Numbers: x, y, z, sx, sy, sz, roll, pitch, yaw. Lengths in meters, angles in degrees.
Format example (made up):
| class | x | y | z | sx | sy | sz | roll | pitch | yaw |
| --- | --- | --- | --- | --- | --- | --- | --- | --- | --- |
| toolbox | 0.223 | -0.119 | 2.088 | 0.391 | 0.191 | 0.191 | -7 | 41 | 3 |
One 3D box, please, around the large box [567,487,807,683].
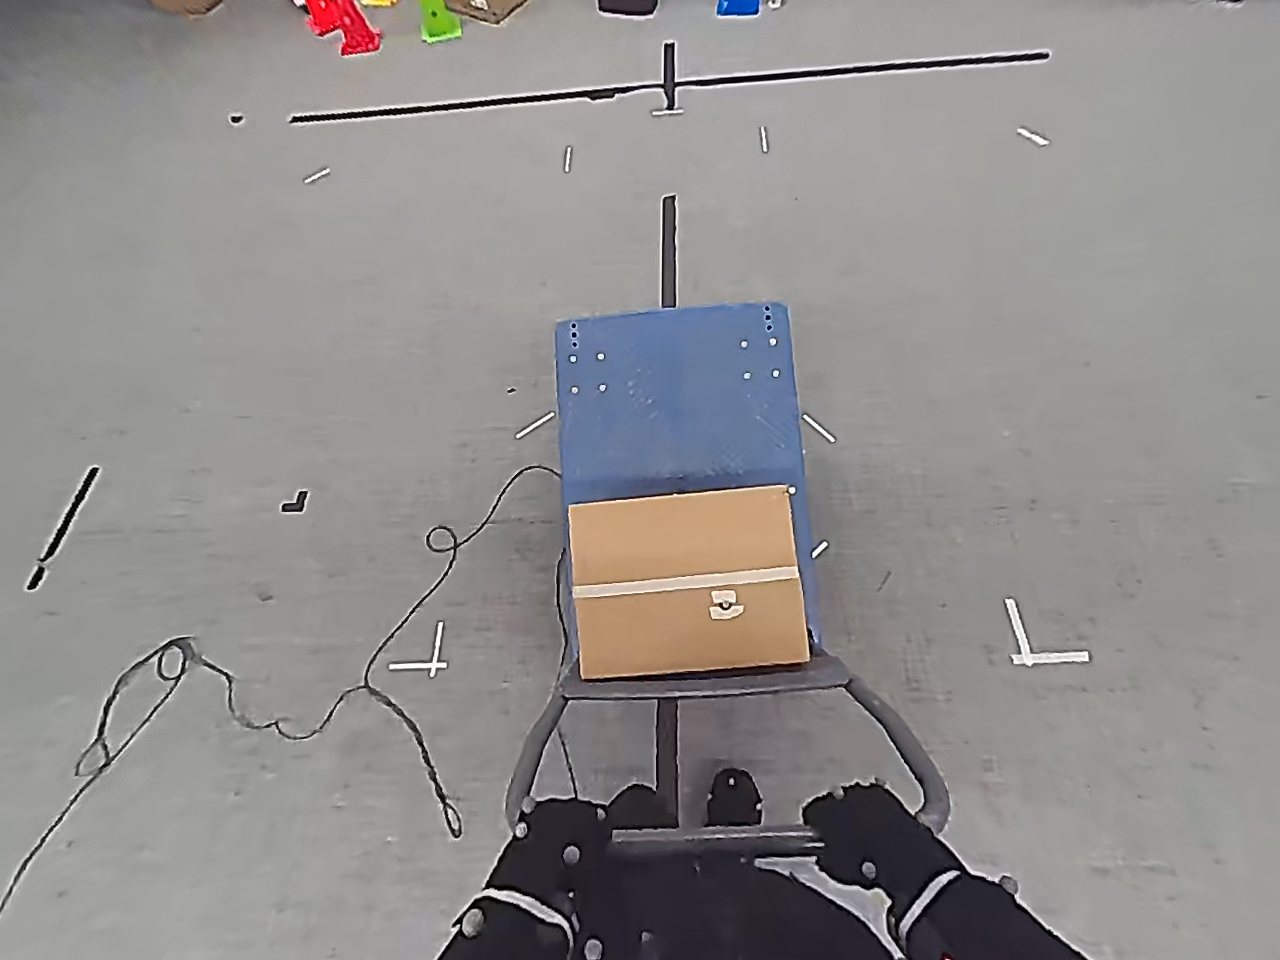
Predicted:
| class | x | y | z | sx | sy | sz | roll | pitch | yaw |
| --- | --- | --- | --- | --- | --- | --- | --- | --- | --- |
| large box | 0.083 | 0.203 | 1.108 | 0.408 | 0.320 | 0.320 | -6 | 84 | 2 |
